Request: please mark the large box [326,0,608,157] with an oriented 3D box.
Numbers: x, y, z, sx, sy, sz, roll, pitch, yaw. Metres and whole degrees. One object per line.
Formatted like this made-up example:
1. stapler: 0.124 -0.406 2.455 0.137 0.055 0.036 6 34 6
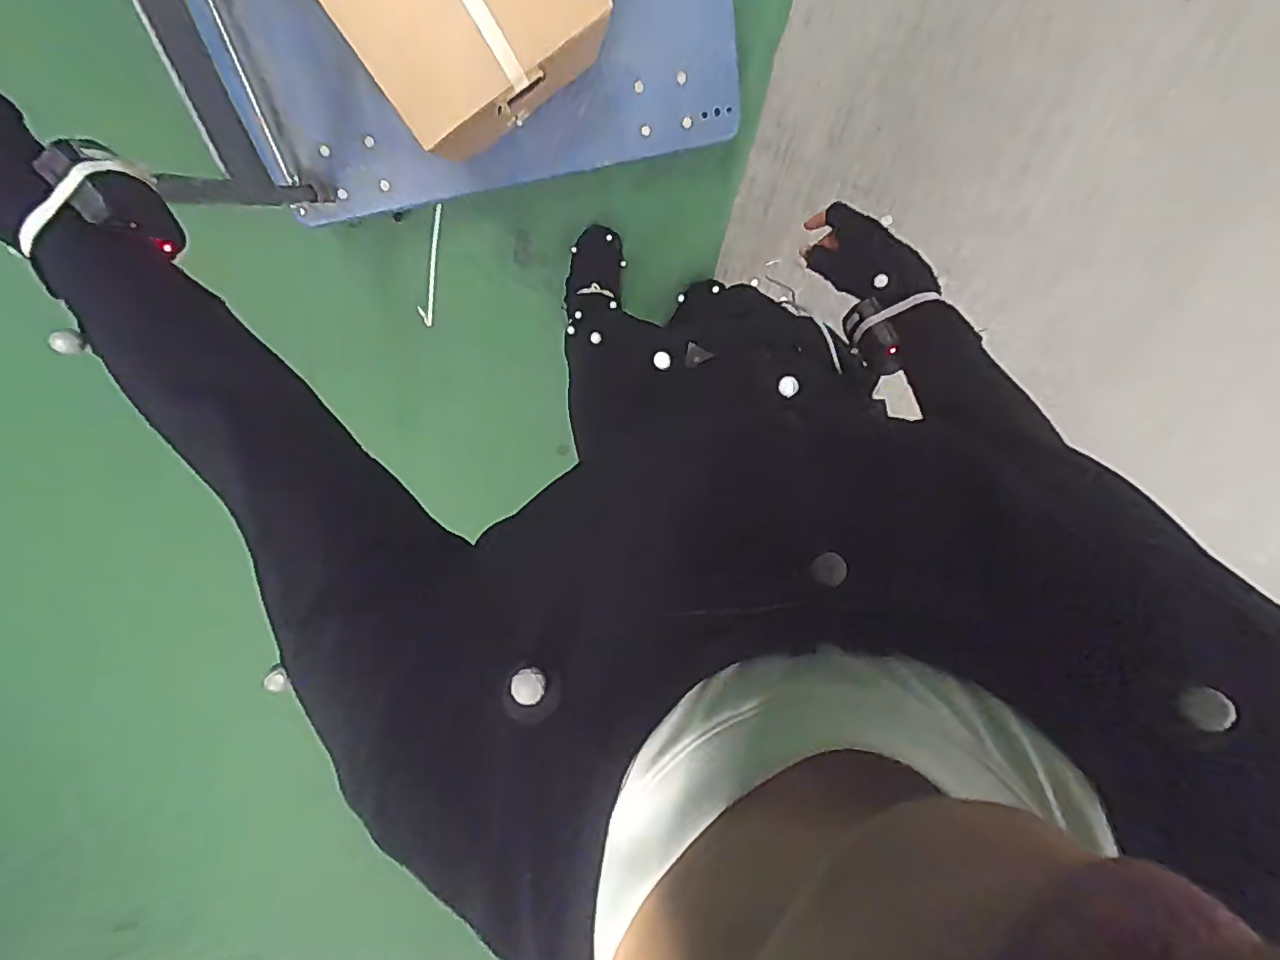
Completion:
1. large box: -0.284 -0.753 0.768 0.320 0.320 0.408 -32 117 8
